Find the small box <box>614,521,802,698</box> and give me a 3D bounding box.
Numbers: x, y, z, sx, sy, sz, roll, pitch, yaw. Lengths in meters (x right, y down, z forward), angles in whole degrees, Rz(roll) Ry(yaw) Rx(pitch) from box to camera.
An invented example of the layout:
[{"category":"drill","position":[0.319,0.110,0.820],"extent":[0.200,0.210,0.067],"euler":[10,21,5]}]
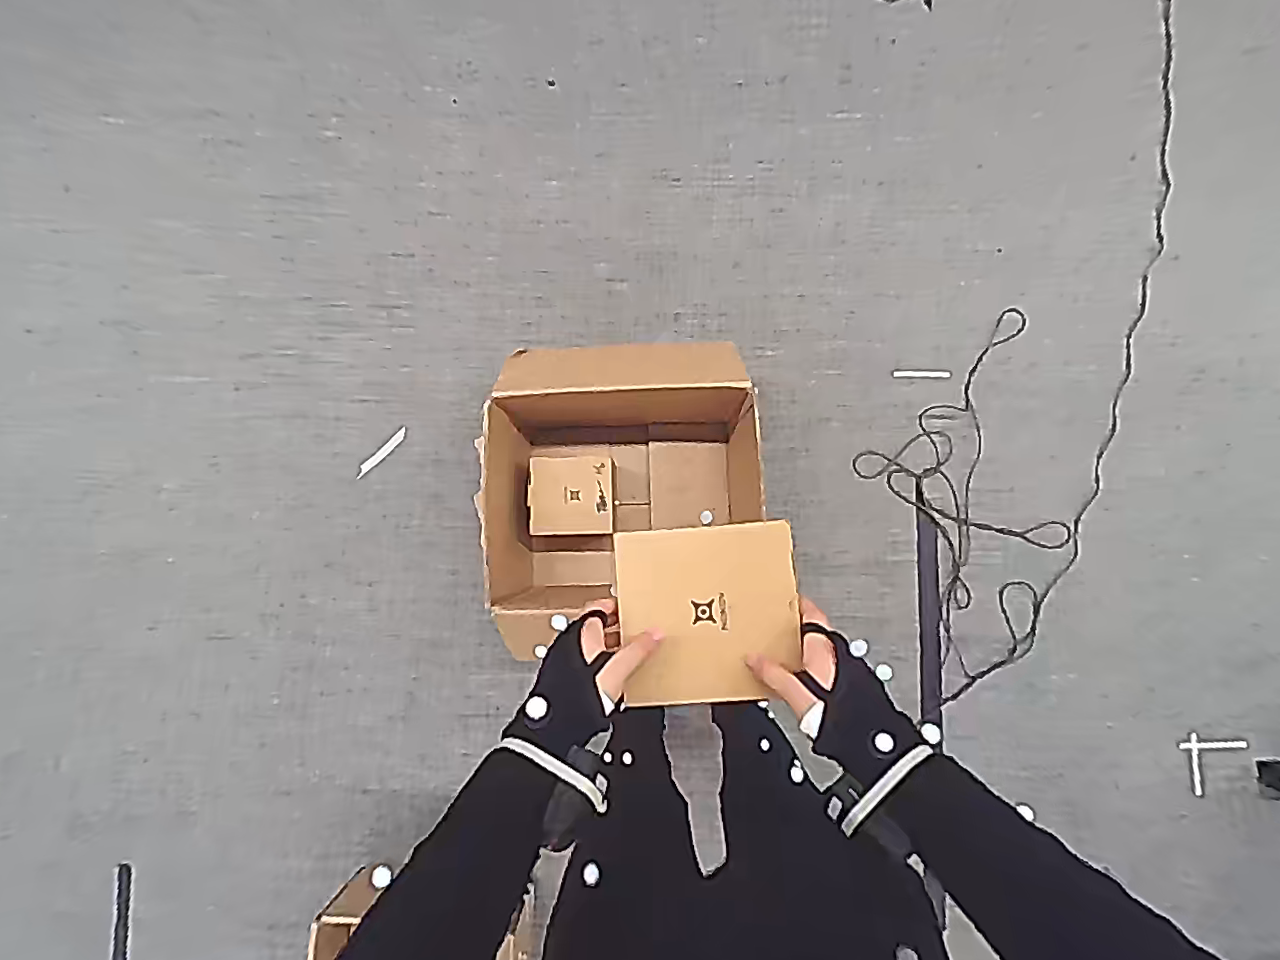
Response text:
[{"category":"small box","position":[0.070,0.140,0.613],"extent":[0.179,0.176,0.168],"euler":[-5,81,2]}]
